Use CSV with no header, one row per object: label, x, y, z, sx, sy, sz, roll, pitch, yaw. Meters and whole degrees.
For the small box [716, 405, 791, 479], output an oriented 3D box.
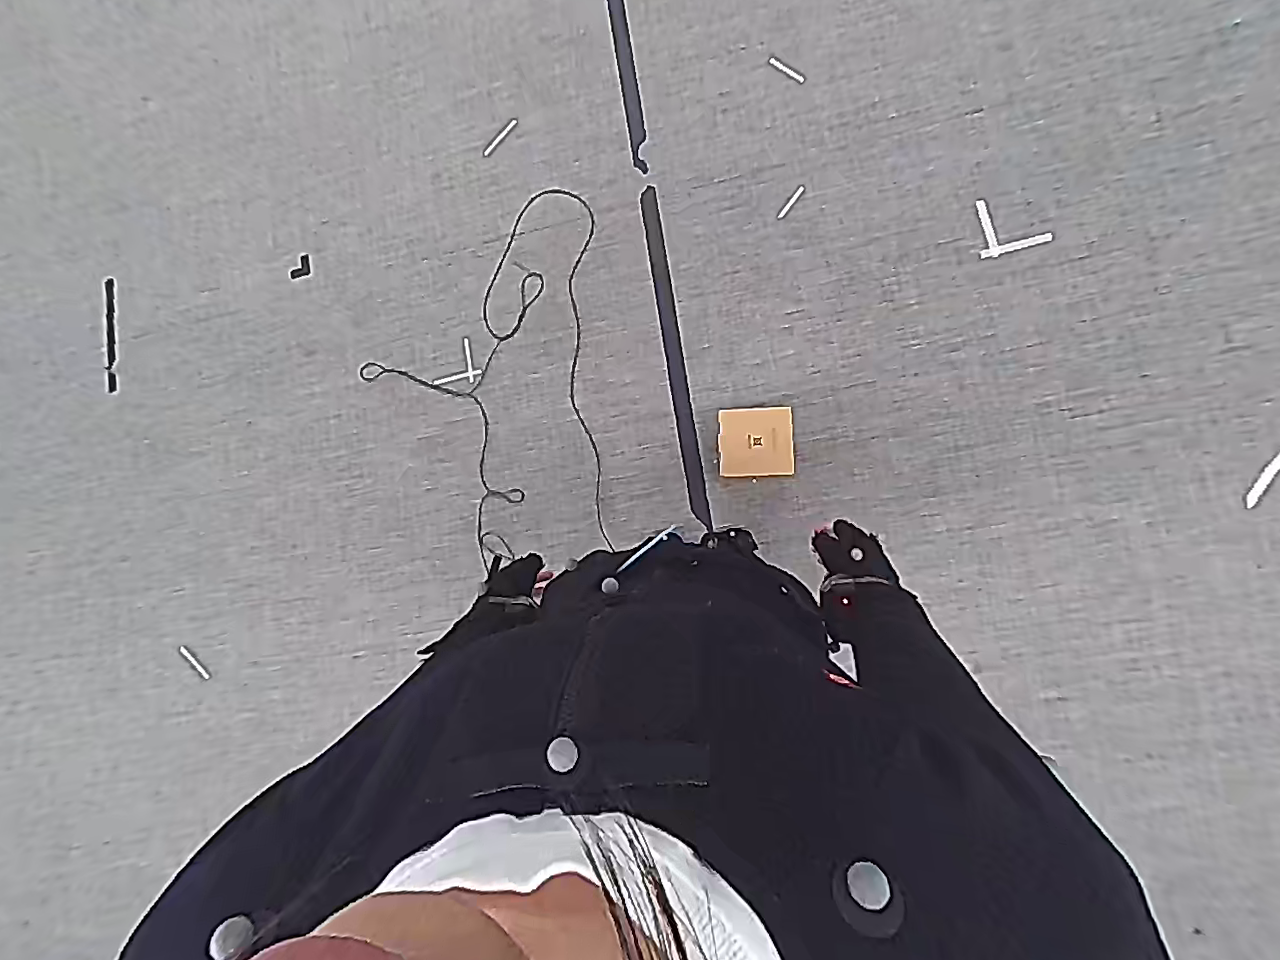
small box,0.288,-0.092,1.391,0.179,0.176,0.168,-1,85,8
